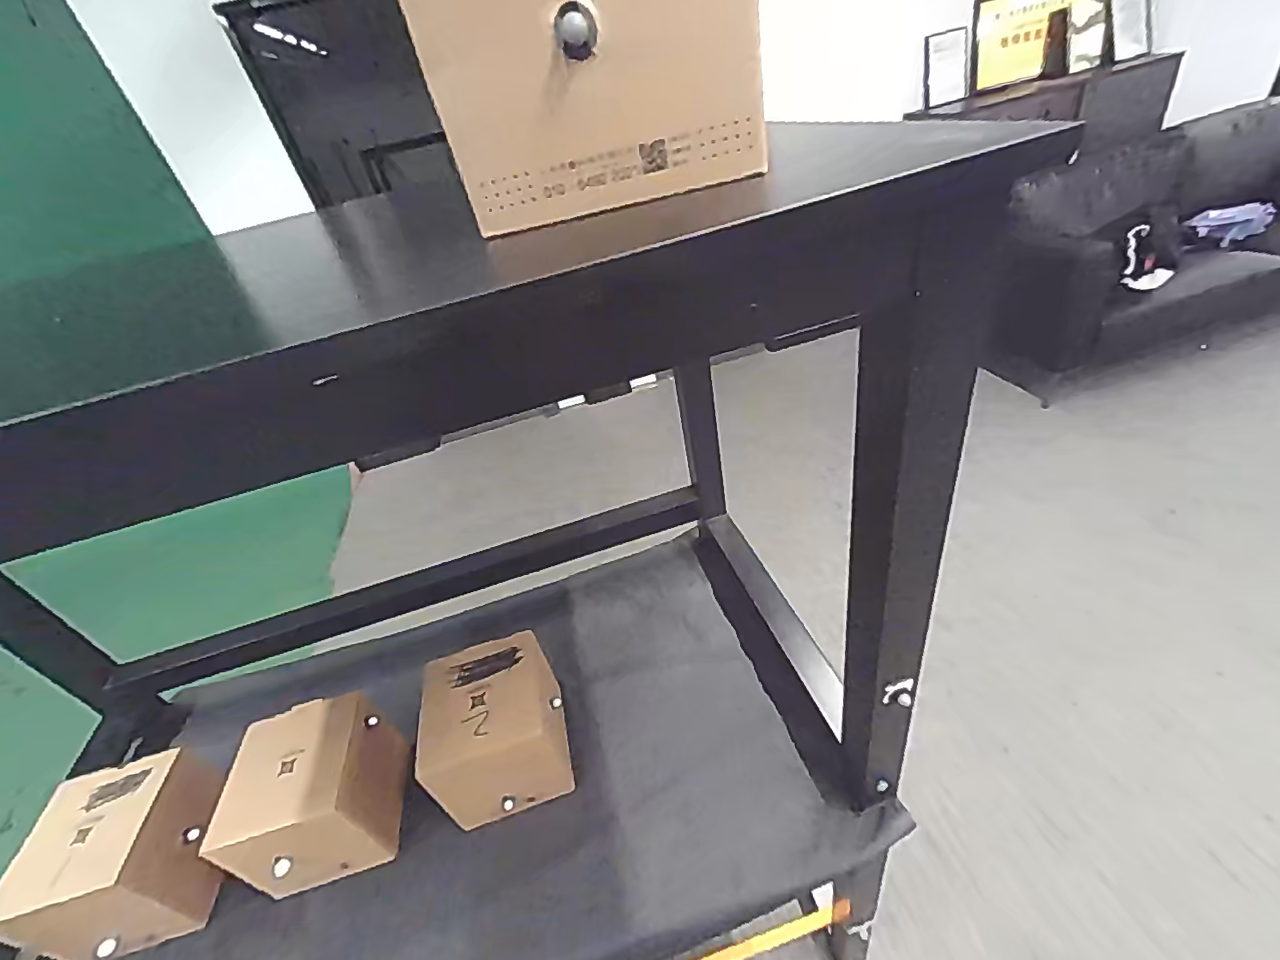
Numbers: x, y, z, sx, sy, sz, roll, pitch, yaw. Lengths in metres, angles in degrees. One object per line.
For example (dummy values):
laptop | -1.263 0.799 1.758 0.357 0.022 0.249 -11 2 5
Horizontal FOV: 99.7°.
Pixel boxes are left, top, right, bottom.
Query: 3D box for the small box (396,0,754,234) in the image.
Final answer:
small box | -0.032 -0.262 0.326 0.168 0.176 0.179 -11 36 4

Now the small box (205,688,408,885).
small box | -0.451 0.439 0.770 0.168 0.176 0.179 -16 36 -5

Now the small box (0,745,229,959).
small box | -0.693 0.510 0.747 0.168 0.176 0.179 -17 36 -4
